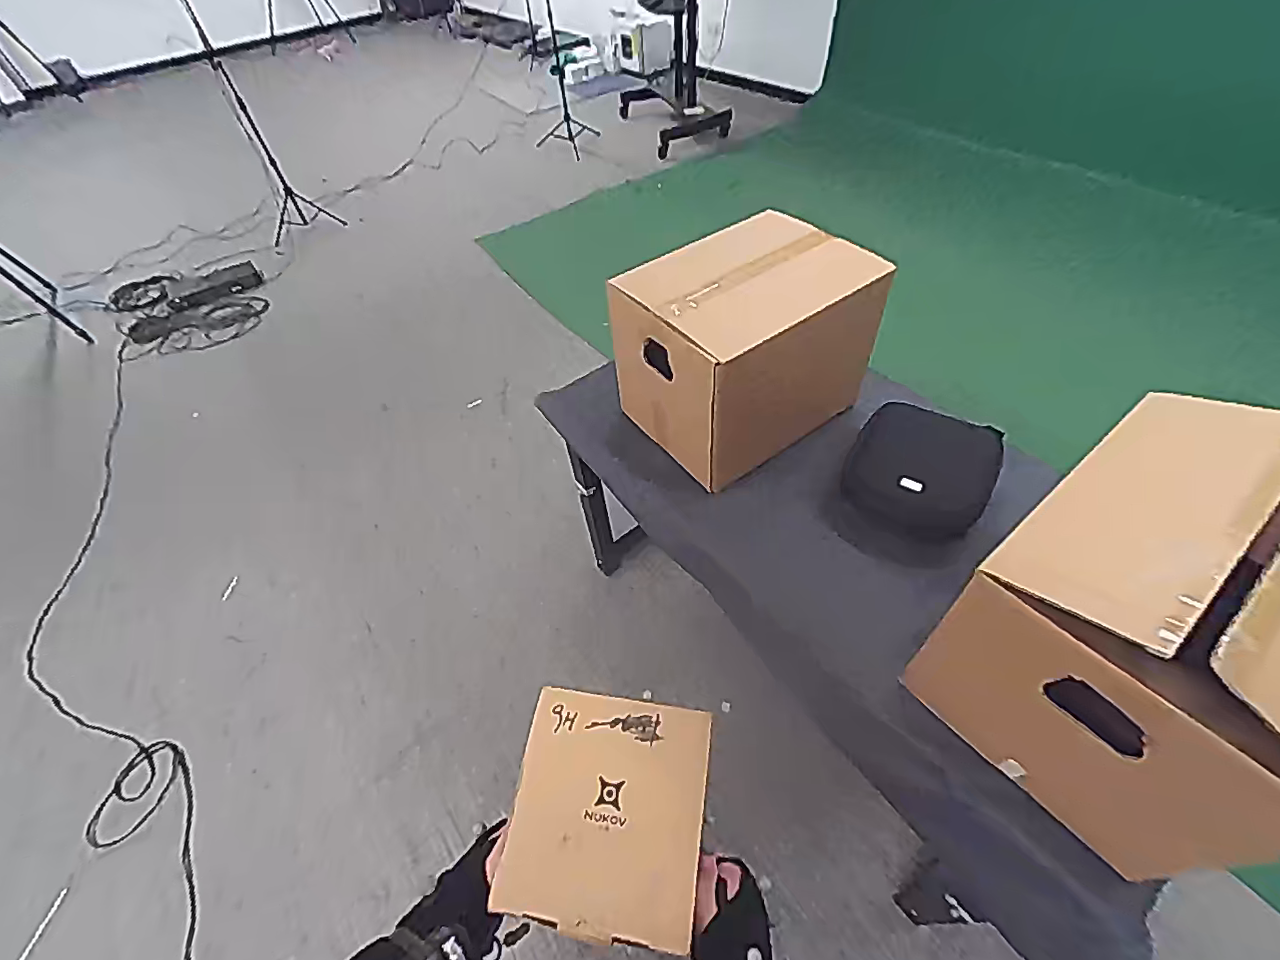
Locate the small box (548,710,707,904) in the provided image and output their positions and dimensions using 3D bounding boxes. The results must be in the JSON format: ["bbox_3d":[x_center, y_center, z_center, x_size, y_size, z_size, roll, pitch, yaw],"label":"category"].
[{"bbox_3d":[-0.002,0.403,0.677,0.168,0.176,0.179,2,56,8],"label":"small box"}]
